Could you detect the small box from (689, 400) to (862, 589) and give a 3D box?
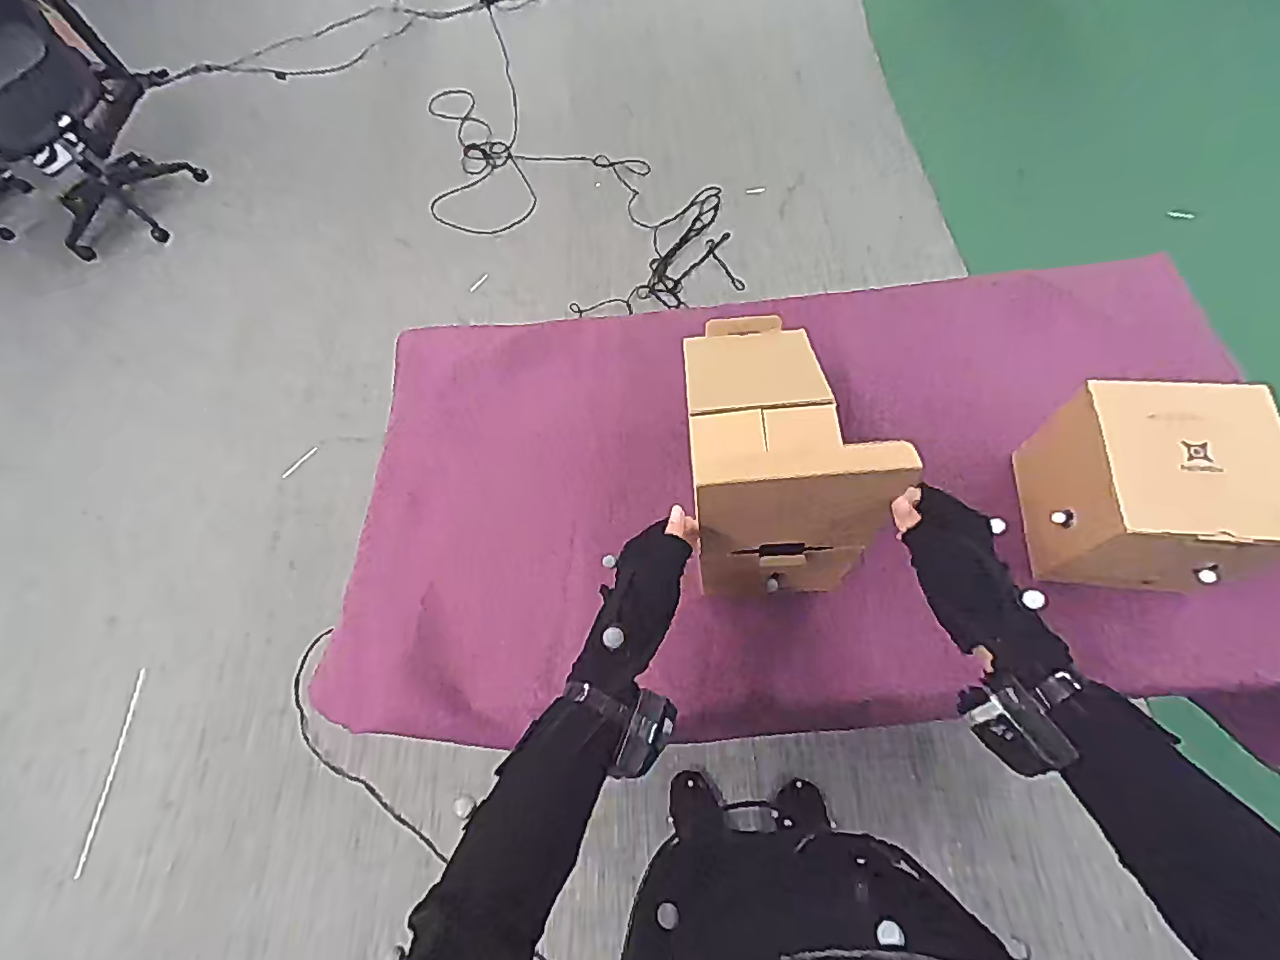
[{"bbox_3d":[0.148,0.028,0.645,0.168,0.176,0.179,-4,64,6],"label":"small box"}]

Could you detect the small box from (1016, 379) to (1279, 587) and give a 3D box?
[{"bbox_3d":[0.552,0.010,0.596,0.168,0.176,0.179,4,65,10],"label":"small box"}]
